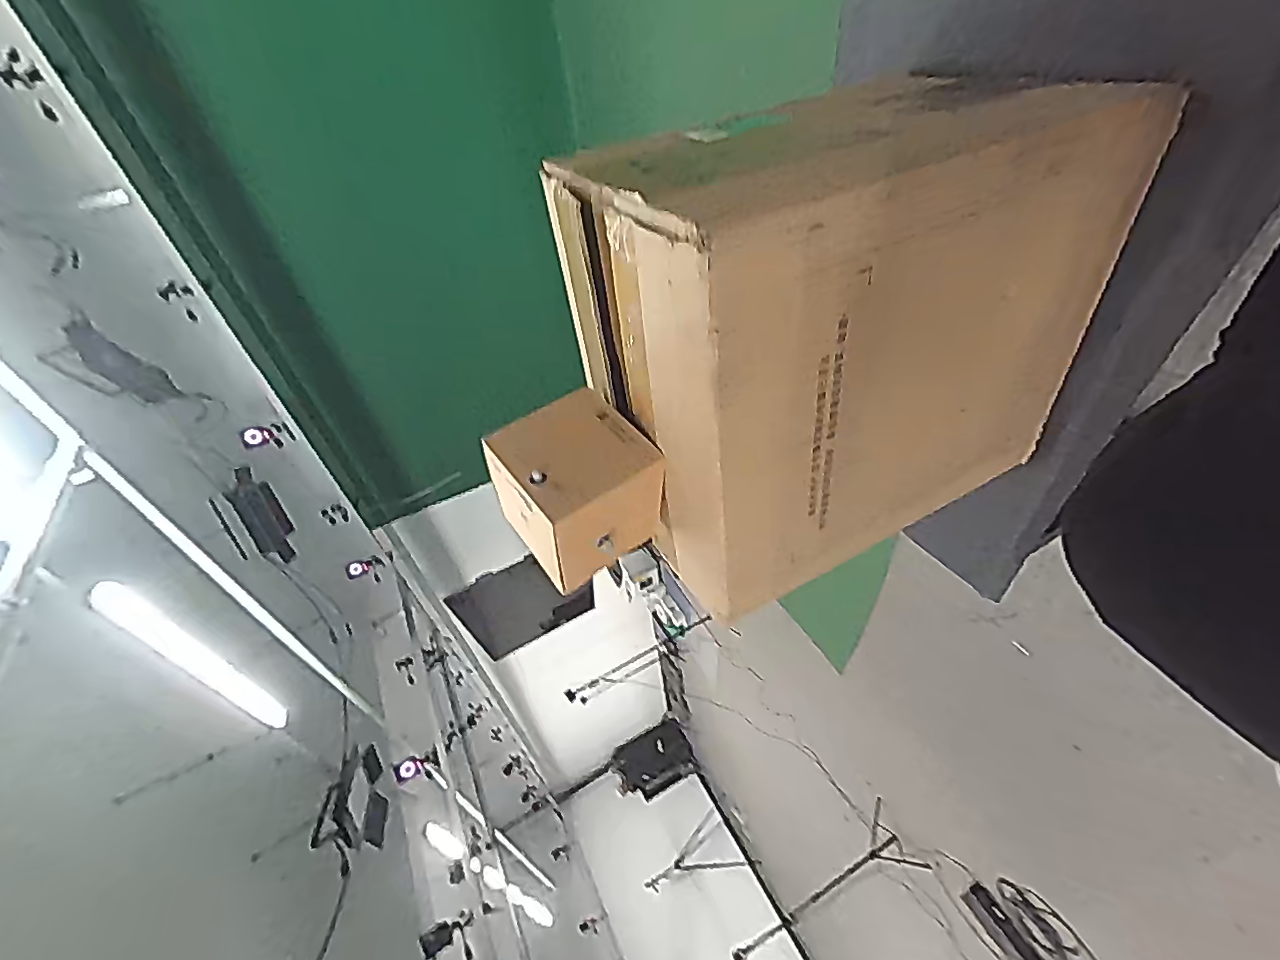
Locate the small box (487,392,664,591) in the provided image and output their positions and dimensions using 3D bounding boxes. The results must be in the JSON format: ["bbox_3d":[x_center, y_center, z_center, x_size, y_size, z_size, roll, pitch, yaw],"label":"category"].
[{"bbox_3d":[-0.081,0.014,0.744,0.168,0.176,0.179,44,153,28],"label":"small box"}]
